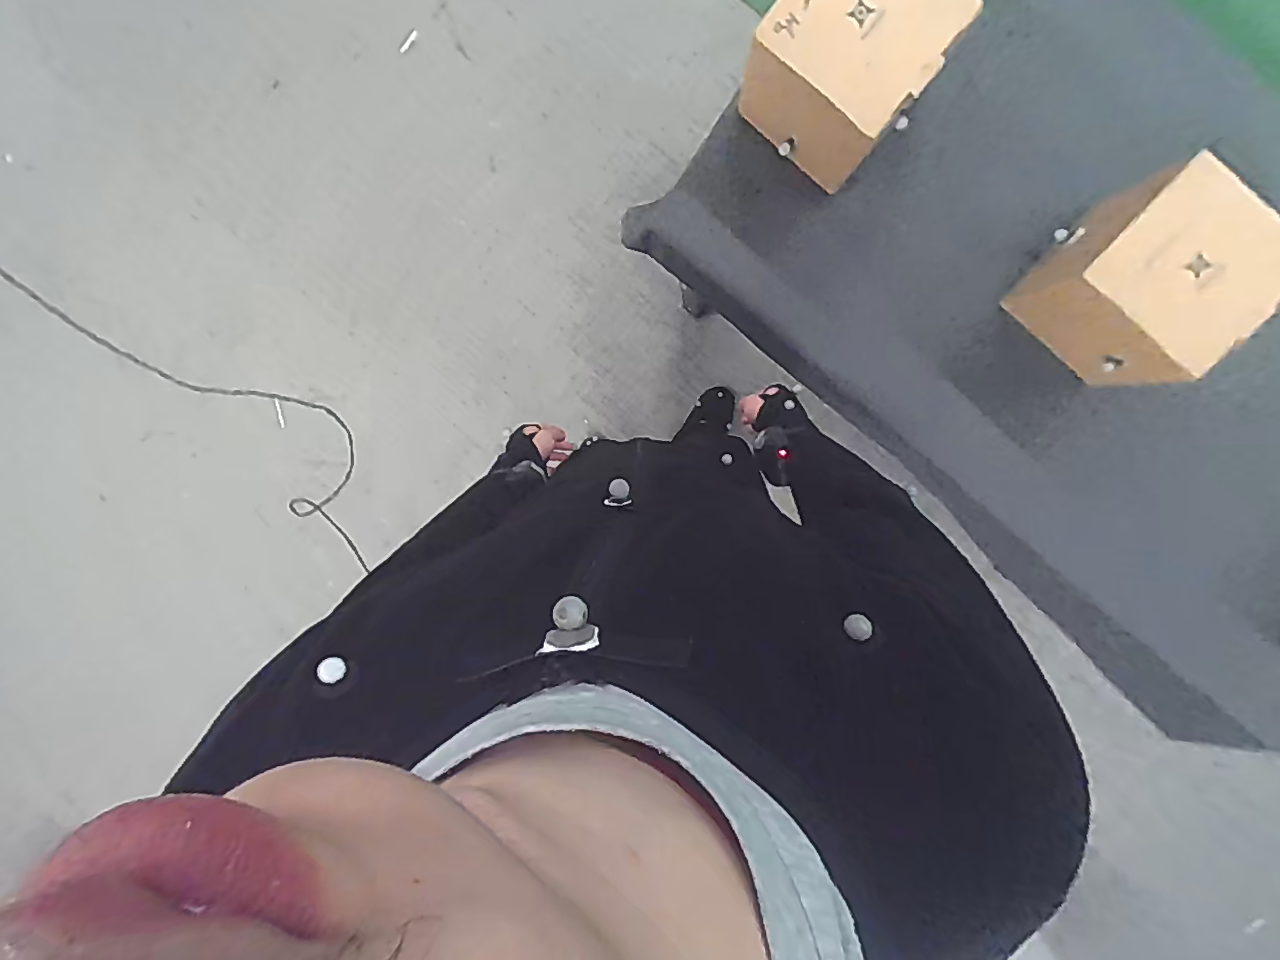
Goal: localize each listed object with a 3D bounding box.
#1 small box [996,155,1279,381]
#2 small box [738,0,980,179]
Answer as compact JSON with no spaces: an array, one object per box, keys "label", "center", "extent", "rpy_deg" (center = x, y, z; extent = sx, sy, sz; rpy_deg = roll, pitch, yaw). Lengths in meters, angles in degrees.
[{"label":"small box","center":[0.595,-0.236,0.657],"extent":[0.179,0.176,0.168],"rpy_deg":[41,98,-1]},{"label":"small box","center":[0.239,-0.494,0.640],"extent":[0.179,0.176,0.168],"rpy_deg":[40,99,-4]}]
